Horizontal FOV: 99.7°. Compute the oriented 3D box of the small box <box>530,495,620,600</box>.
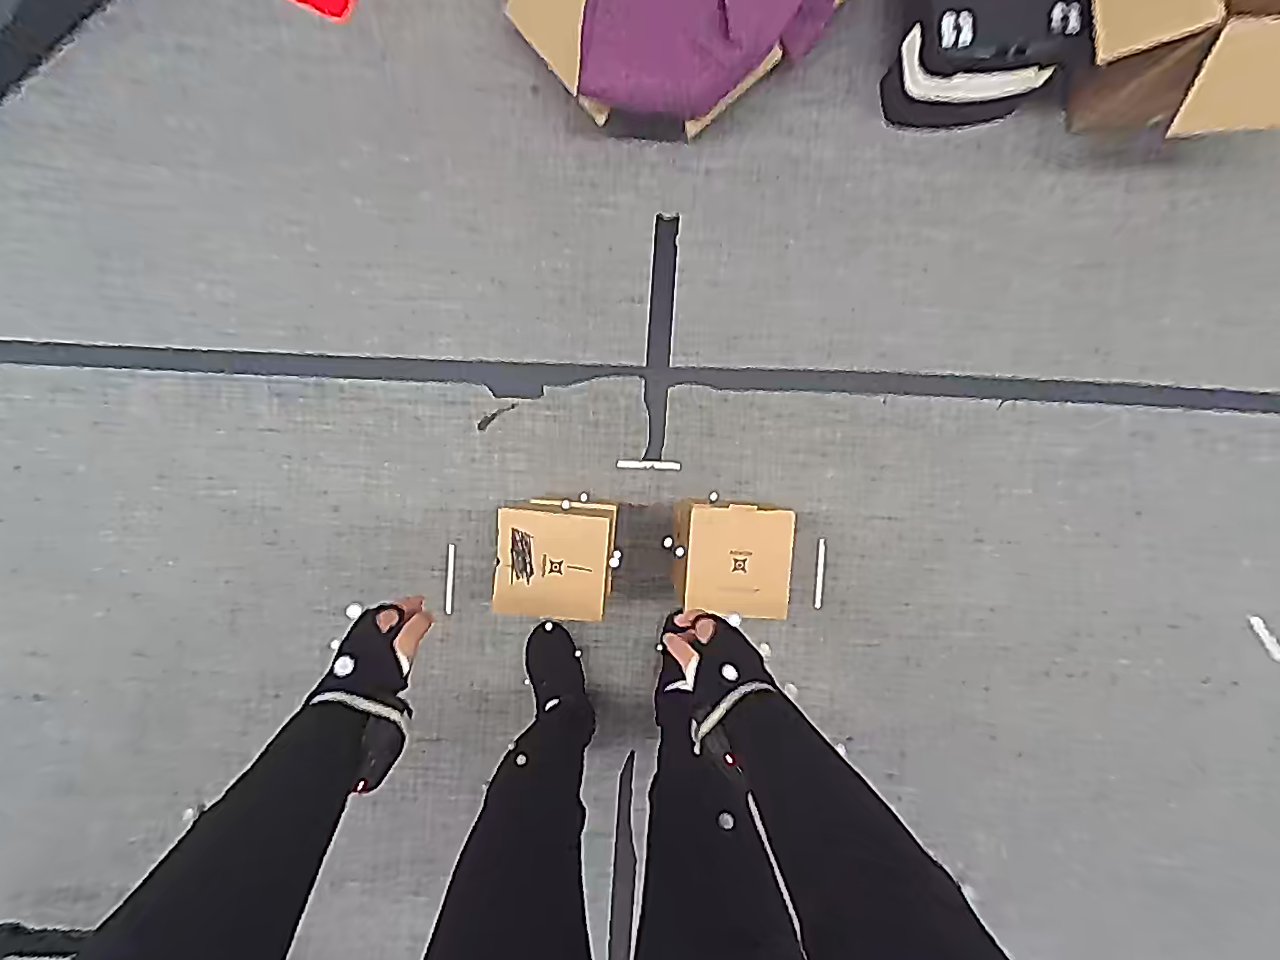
[{"bbox_3d":[-0.131,0.128,1.087,0.168,0.176,0.179,5,92,0],"label":"small box"}]

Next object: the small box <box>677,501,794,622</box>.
[{"bbox_3d":[0.155,0.130,0.931,0.168,0.176,0.179,3,93,-1],"label":"small box"}]

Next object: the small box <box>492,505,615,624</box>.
[{"bbox_3d":[-0.139,0.135,0.922,0.179,0.176,0.168,6,91,-2],"label":"small box"}]

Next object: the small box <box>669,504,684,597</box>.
[{"bbox_3d":[0.156,0.137,1.094,0.179,0.176,0.168,1,92,-1],"label":"small box"}]
